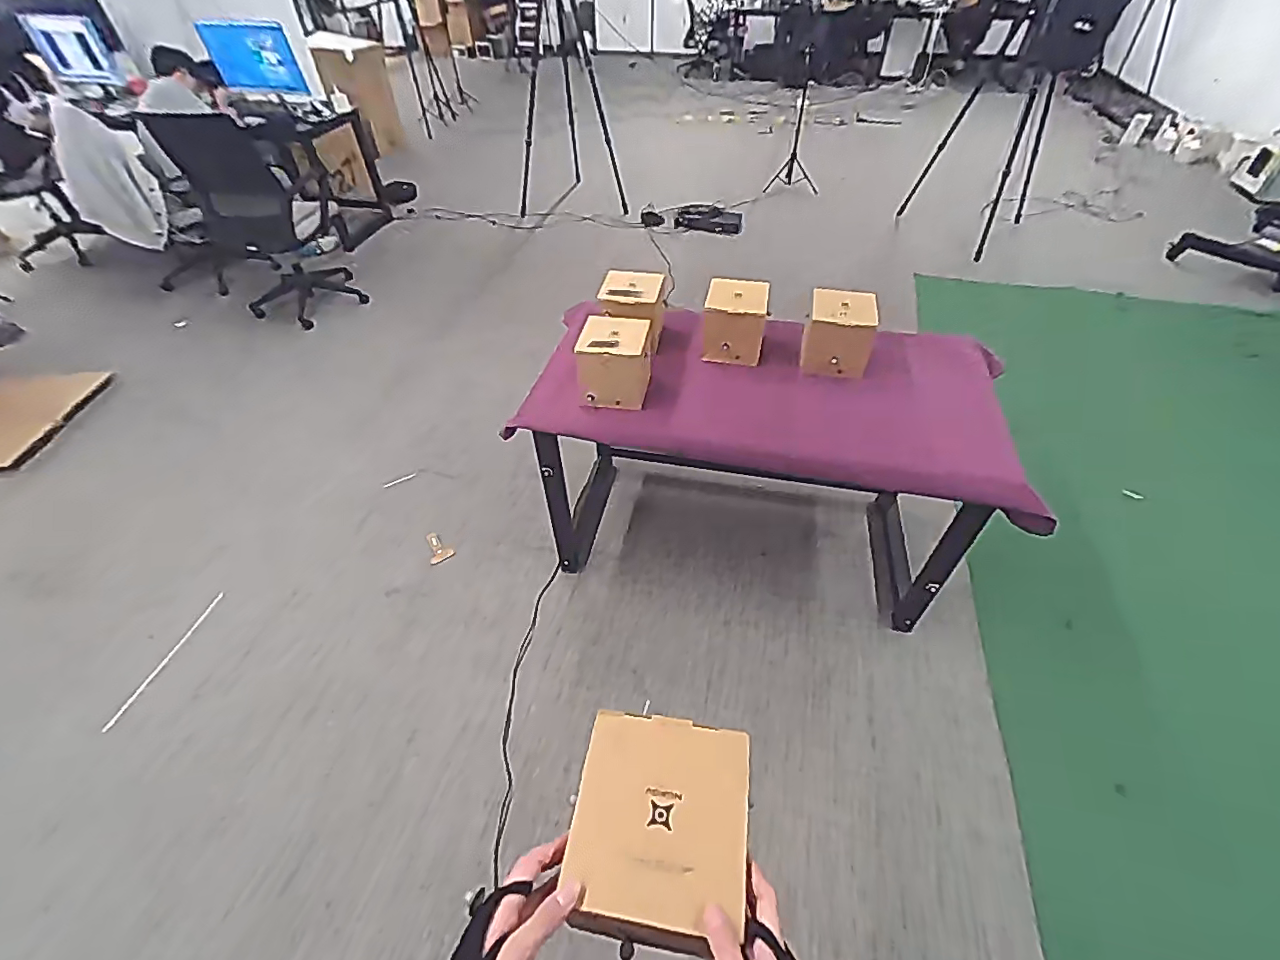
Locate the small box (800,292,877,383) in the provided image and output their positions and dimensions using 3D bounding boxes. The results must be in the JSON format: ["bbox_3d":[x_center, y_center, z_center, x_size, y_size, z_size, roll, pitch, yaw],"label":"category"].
[{"bbox_3d":[0.541,-0.393,1.489,0.168,0.176,0.179,9,48,11],"label":"small box"}]

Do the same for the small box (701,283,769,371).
[{"bbox_3d":[0.268,-0.438,1.545,0.168,0.176,0.179,8,48,10],"label":"small box"}]

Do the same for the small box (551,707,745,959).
[{"bbox_3d":[0.016,0.375,0.578,0.168,0.176,0.179,6,45,8],"label":"small box"}]

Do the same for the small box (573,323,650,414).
[{"bbox_3d":[-0.067,-0.290,1.411,0.168,0.176,0.179,6,45,8],"label":"small box"}]
